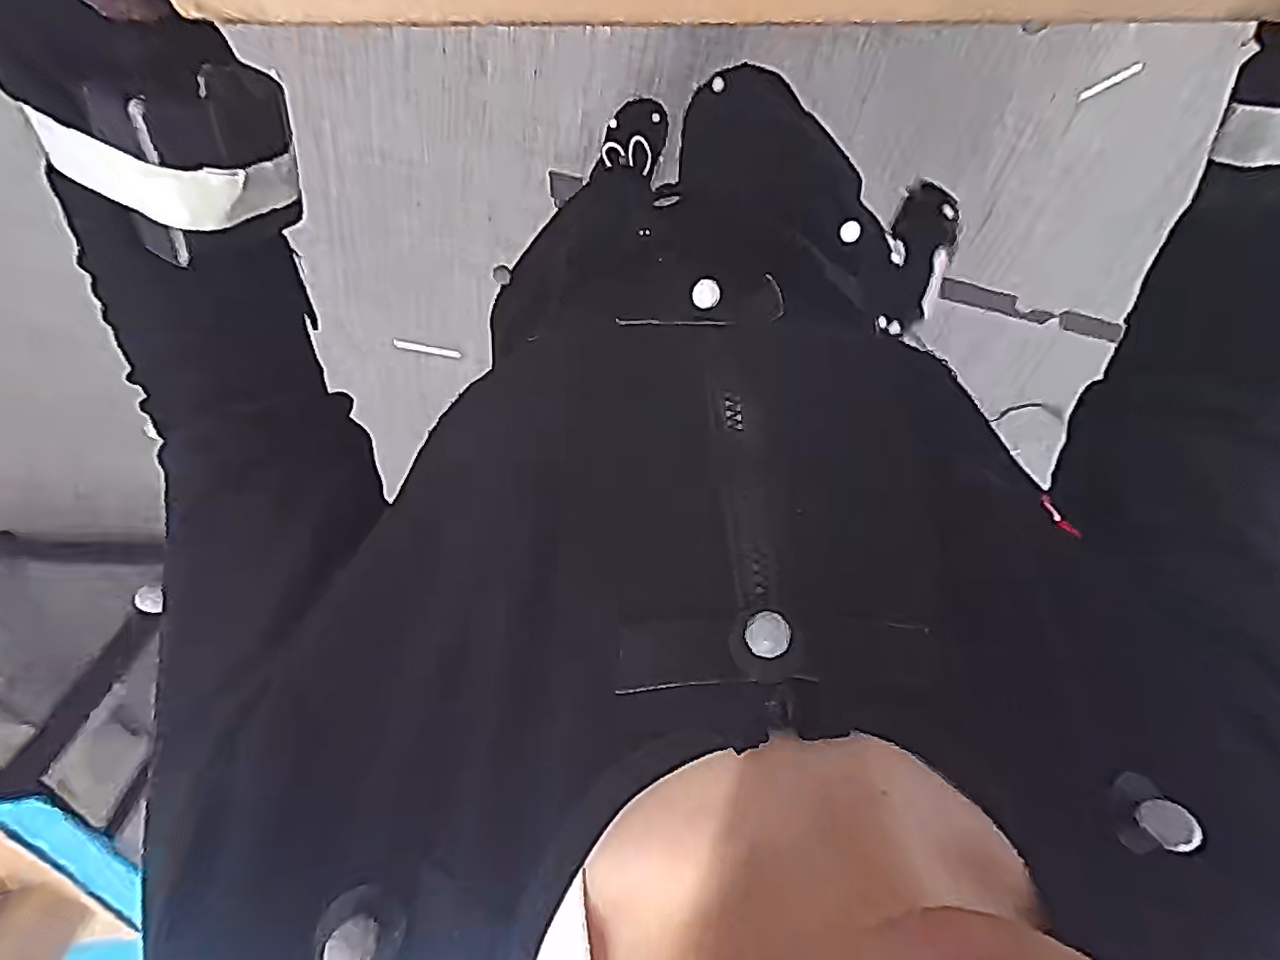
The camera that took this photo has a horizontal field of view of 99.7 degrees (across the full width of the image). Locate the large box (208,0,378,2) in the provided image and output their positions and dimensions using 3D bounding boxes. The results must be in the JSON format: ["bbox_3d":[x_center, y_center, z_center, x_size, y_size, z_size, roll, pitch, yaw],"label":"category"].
[{"bbox_3d":[0.032,-0.387,0.156,0.408,0.320,0.320,-4,144,-4],"label":"large box"}]
